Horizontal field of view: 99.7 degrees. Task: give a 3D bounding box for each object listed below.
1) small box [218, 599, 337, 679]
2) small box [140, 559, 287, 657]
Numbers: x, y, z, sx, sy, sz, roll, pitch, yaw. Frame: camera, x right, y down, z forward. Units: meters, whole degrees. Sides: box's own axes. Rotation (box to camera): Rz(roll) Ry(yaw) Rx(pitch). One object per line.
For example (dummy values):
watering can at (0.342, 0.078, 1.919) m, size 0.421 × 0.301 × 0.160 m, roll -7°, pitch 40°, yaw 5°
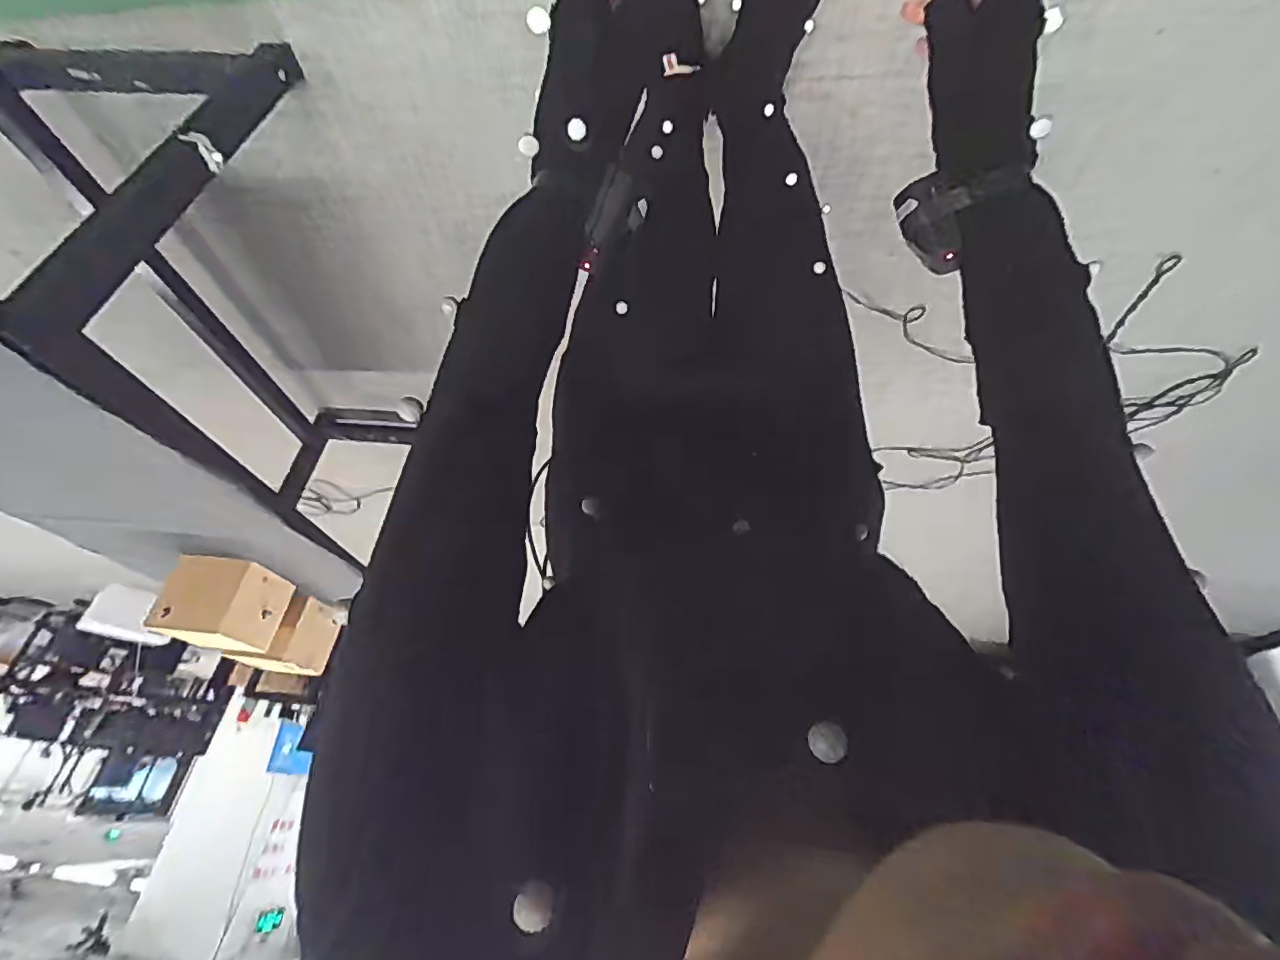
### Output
small box at (-0.930, 0.411, 1.414) m, size 0.179 × 0.176 × 0.168 m, roll 3°, pitch 149°, yaw 9°
small box at (-0.935, 0.287, 1.212) m, size 0.179 × 0.176 × 0.168 m, roll 4°, pitch 149°, yaw 6°
